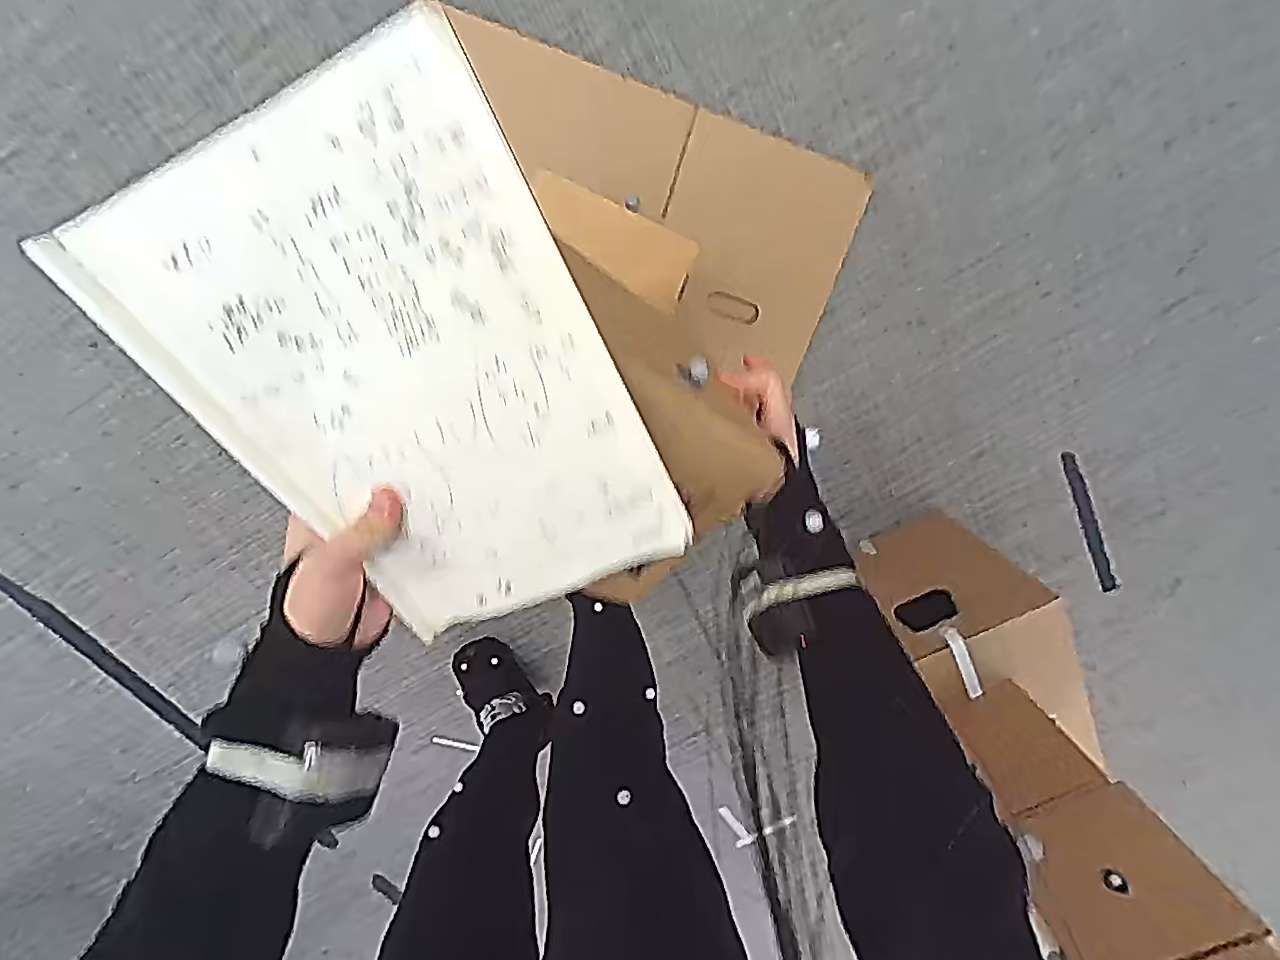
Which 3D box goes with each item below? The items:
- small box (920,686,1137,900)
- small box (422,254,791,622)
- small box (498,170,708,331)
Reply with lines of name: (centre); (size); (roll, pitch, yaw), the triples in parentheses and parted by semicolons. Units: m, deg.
small box: (0.534, 0.438, 0.772); (0.179, 0.176, 0.168); (-33, 111, 9)
small box: (-0.032, -0.028, 0.390); (0.179, 0.176, 0.168); (27, 118, -35)
small box: (-0.048, -0.220, 0.621); (0.179, 0.176, 0.168); (20, 109, -13)
